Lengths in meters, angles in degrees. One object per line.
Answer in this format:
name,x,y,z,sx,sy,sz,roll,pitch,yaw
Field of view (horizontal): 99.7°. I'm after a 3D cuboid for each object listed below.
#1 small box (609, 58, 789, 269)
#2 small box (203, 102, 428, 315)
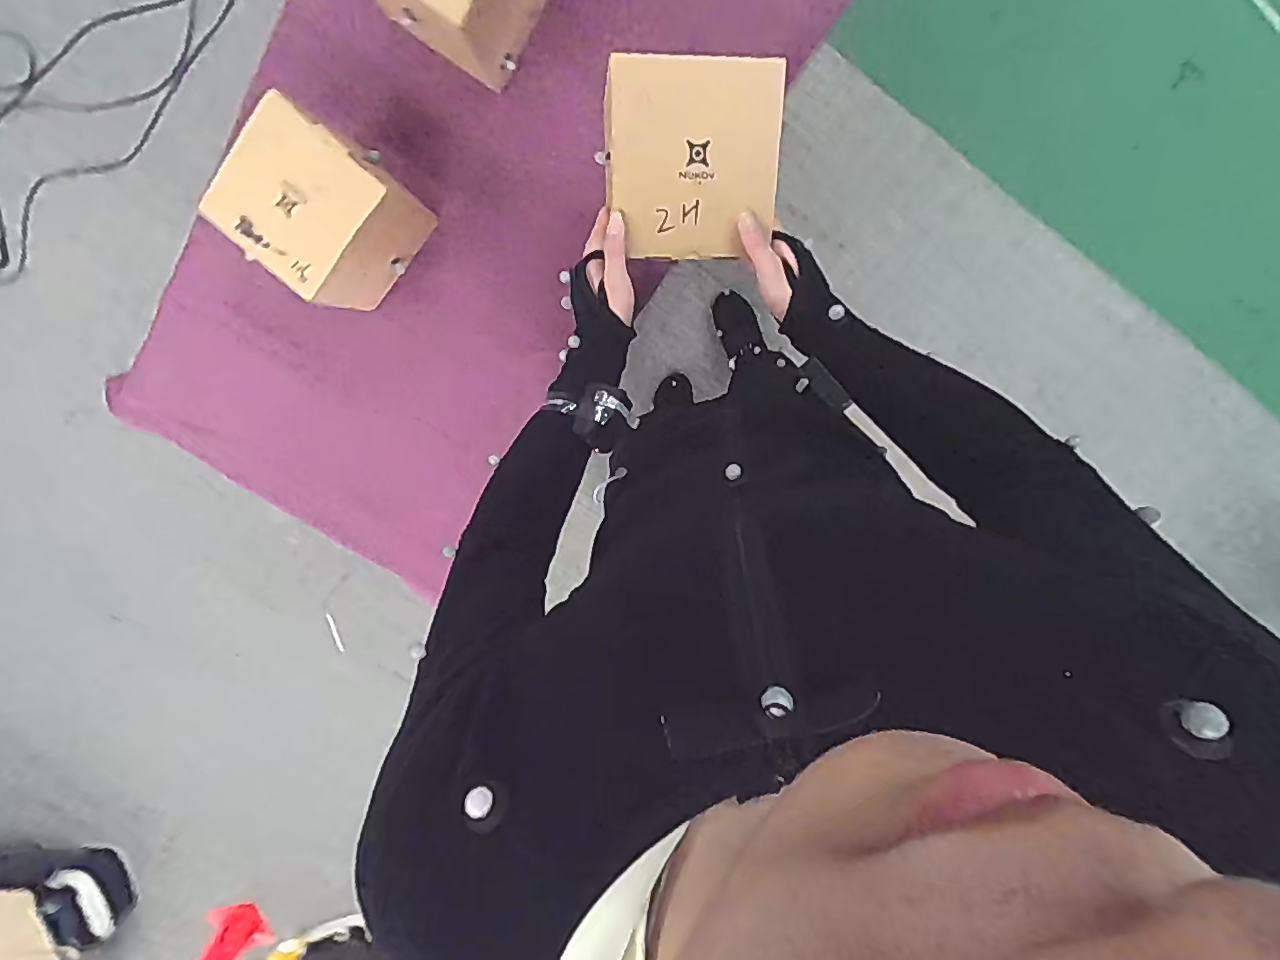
small box,0.051,-0.332,0.603,0.168,0.176,0.179,-1,112,-5
small box,-0.416,-0.346,0.731,0.168,0.176,0.179,41,101,-8
